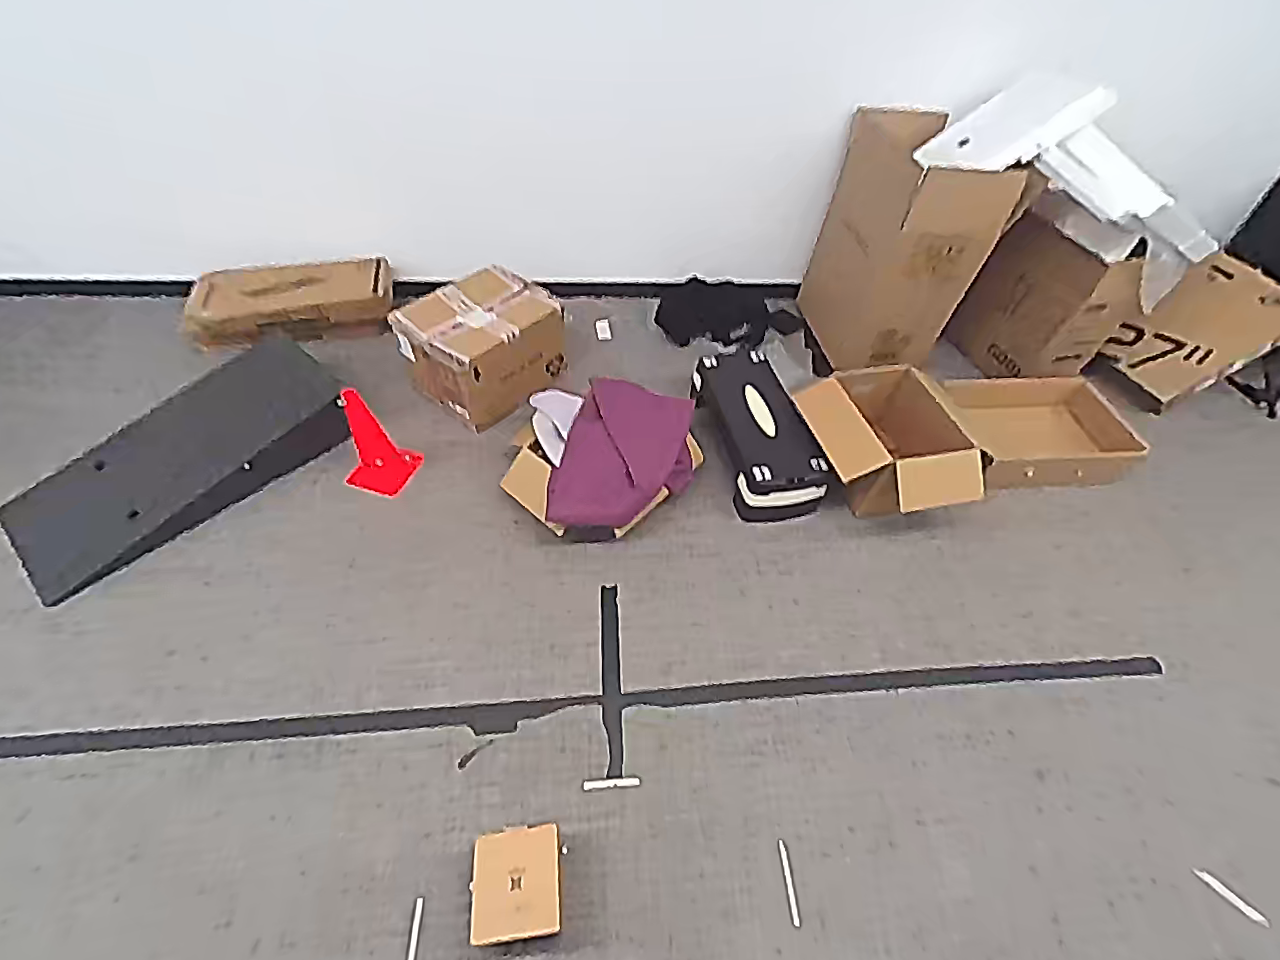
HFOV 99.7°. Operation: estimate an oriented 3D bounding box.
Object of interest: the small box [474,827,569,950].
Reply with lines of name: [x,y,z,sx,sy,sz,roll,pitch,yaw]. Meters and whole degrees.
small box: [-0.236,0.833,1.105,0.168,0.176,0.179,-5,52,-6]
